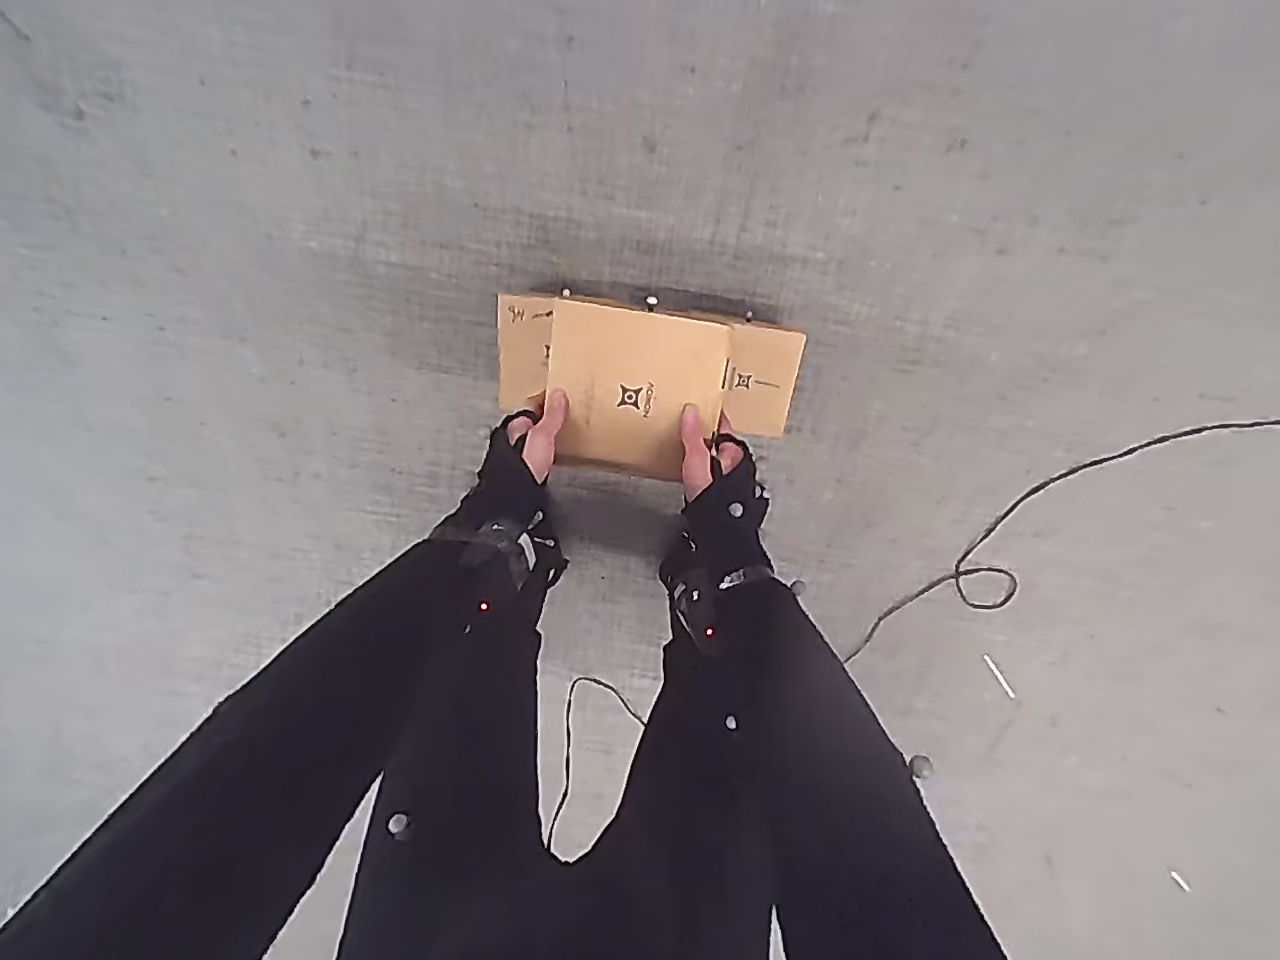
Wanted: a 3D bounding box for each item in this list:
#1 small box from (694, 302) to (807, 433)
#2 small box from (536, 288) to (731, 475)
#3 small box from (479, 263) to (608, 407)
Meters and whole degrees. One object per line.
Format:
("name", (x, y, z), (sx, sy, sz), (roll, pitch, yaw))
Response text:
("small box", (0.155, -0.196, 0.907), (0.179, 0.176, 0.168), (13, 113, -1))
("small box", (-0.008, -0.118, 0.611), (0.179, 0.176, 0.168), (9, 108, -1))
("small box", (-0.129, -0.241, 0.902), (0.179, 0.176, 0.168), (-23, 106, 13))
